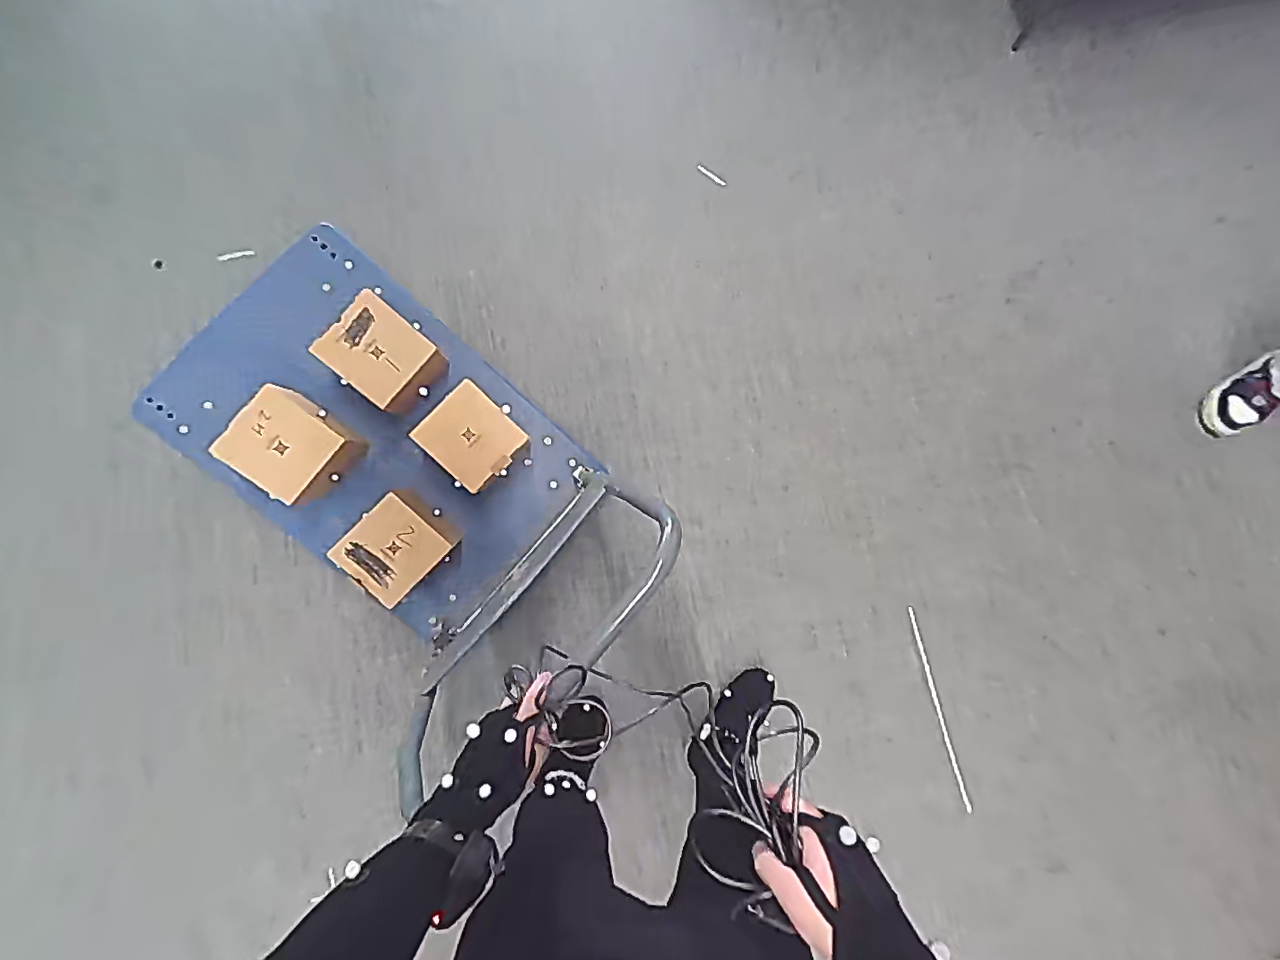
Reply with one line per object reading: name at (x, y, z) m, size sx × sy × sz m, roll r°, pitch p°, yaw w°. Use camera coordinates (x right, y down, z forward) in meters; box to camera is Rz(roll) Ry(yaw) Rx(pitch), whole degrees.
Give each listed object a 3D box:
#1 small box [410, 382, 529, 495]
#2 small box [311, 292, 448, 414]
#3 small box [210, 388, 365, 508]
small box at (-0.362, -0.085, 1.177) m, size 0.179 × 0.176 × 0.168 m, roll 45°, pitch 84°, yaw -10°
small box at (-0.534, -0.254, 1.137) m, size 0.179 × 0.176 × 0.168 m, roll 41°, pitch 85°, yaw -10°
small box at (-0.705, -0.064, 1.109) m, size 0.179 × 0.176 × 0.168 m, roll 39°, pitch 84°, yaw -10°
